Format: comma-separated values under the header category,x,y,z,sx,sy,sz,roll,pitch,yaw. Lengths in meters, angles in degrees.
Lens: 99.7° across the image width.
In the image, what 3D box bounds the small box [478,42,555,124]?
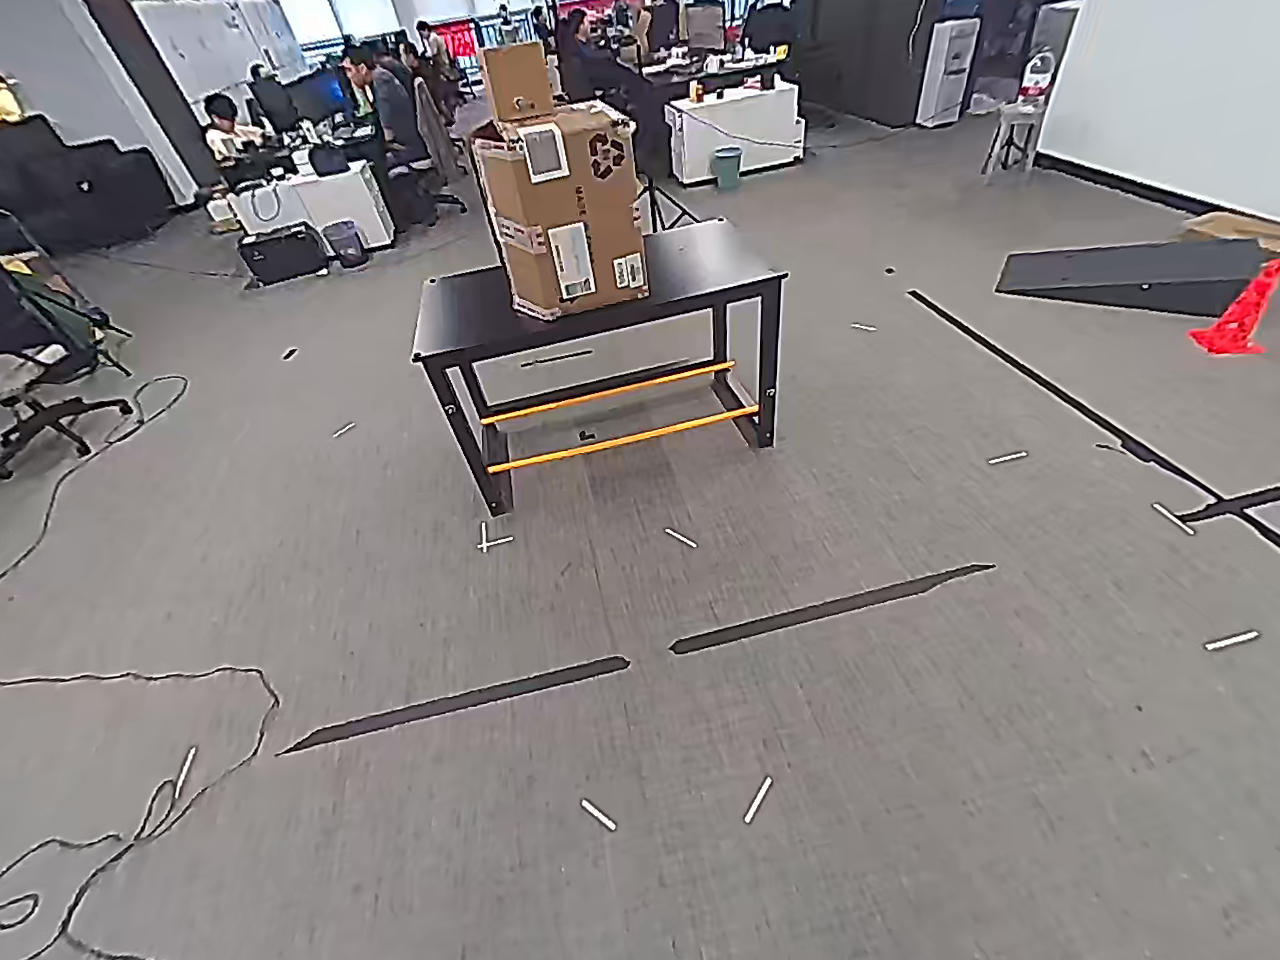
category,x,y,z,sx,sy,sz,roll,pitch,yaw
small box,-0.355,-1.140,1.554,0.168,0.176,0.179,-18,42,-10
